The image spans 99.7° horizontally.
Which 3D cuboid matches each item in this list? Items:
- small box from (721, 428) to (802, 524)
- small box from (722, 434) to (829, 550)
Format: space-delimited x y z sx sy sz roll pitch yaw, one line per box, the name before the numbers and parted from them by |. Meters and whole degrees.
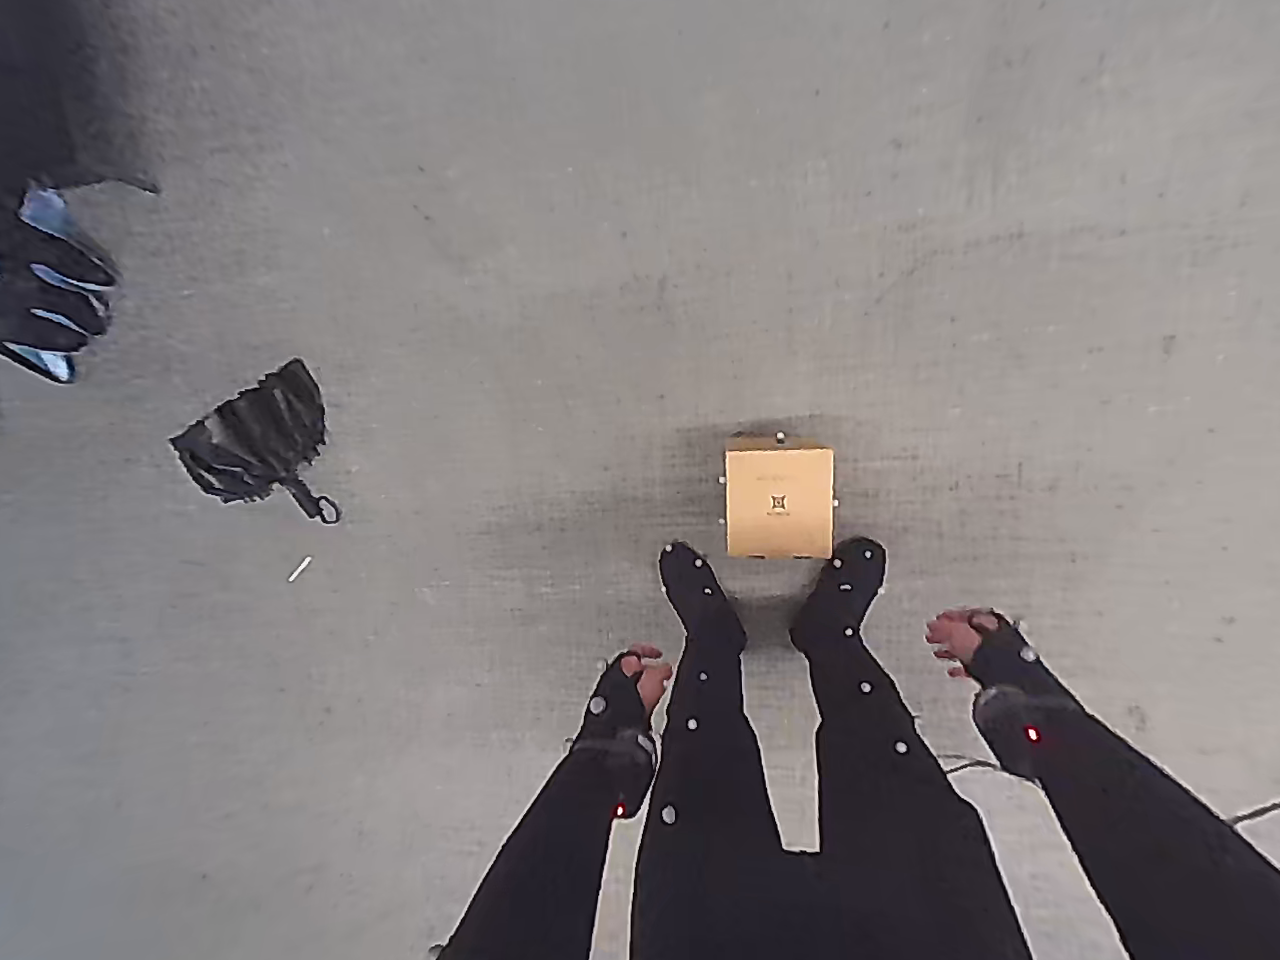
small box | 0.253 -0.010 1.097 0.168 0.176 0.179 1 100 10
small box | 0.229 0.015 0.938 0.168 0.176 0.179 -1 98 10
